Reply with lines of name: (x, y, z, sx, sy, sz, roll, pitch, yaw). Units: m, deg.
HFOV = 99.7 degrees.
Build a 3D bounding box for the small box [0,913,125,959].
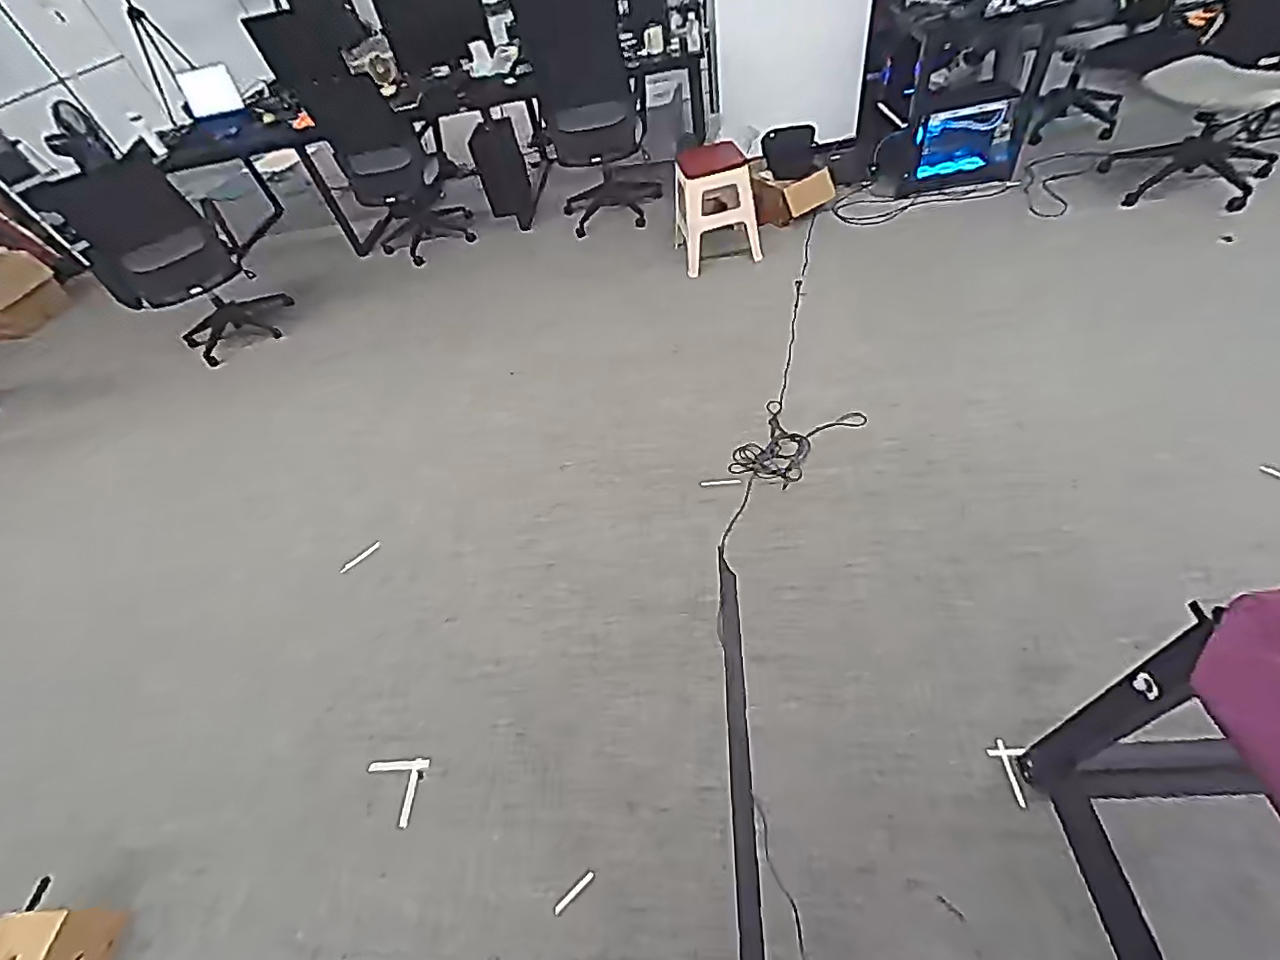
small box: (-1.364, 1.102, 1.241, 0.179, 0.176, 0.168, -7, 49, 8)
